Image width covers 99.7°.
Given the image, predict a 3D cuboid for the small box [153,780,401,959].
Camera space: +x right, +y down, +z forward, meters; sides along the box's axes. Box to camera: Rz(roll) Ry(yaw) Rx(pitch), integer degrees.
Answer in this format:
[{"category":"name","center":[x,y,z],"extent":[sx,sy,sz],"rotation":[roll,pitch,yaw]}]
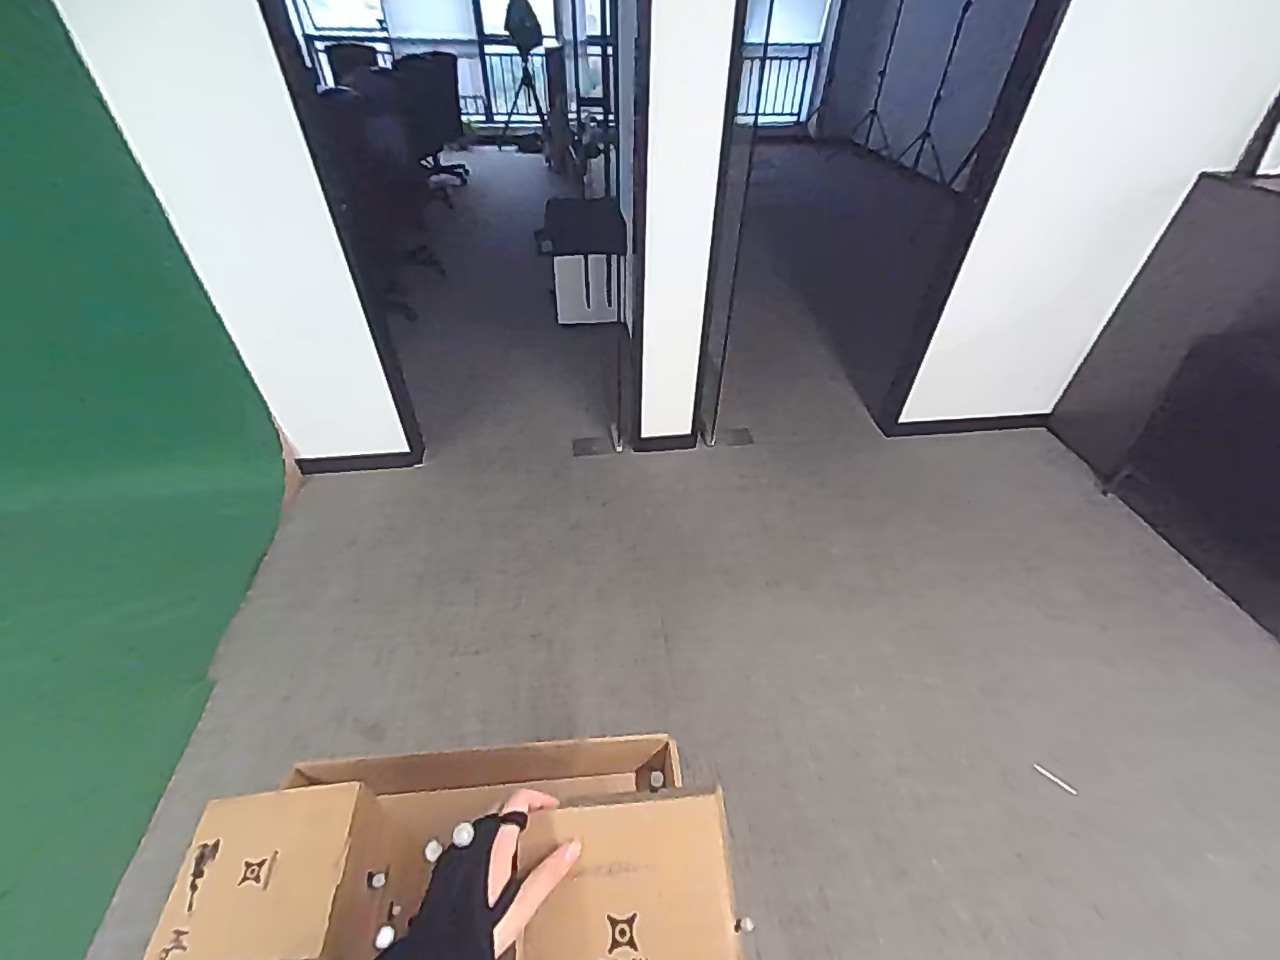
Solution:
[{"category":"small box","center":[-0.407,0.484,0.647],"extent":[0.179,0.176,0.168],"rotation":[-4,42,-6]}]

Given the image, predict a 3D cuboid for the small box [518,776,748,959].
[{"category":"small box","center":[0.003,0.366,0.470],"extent":[0.168,0.176,0.179],"rotation":[-8,63,6]}]
